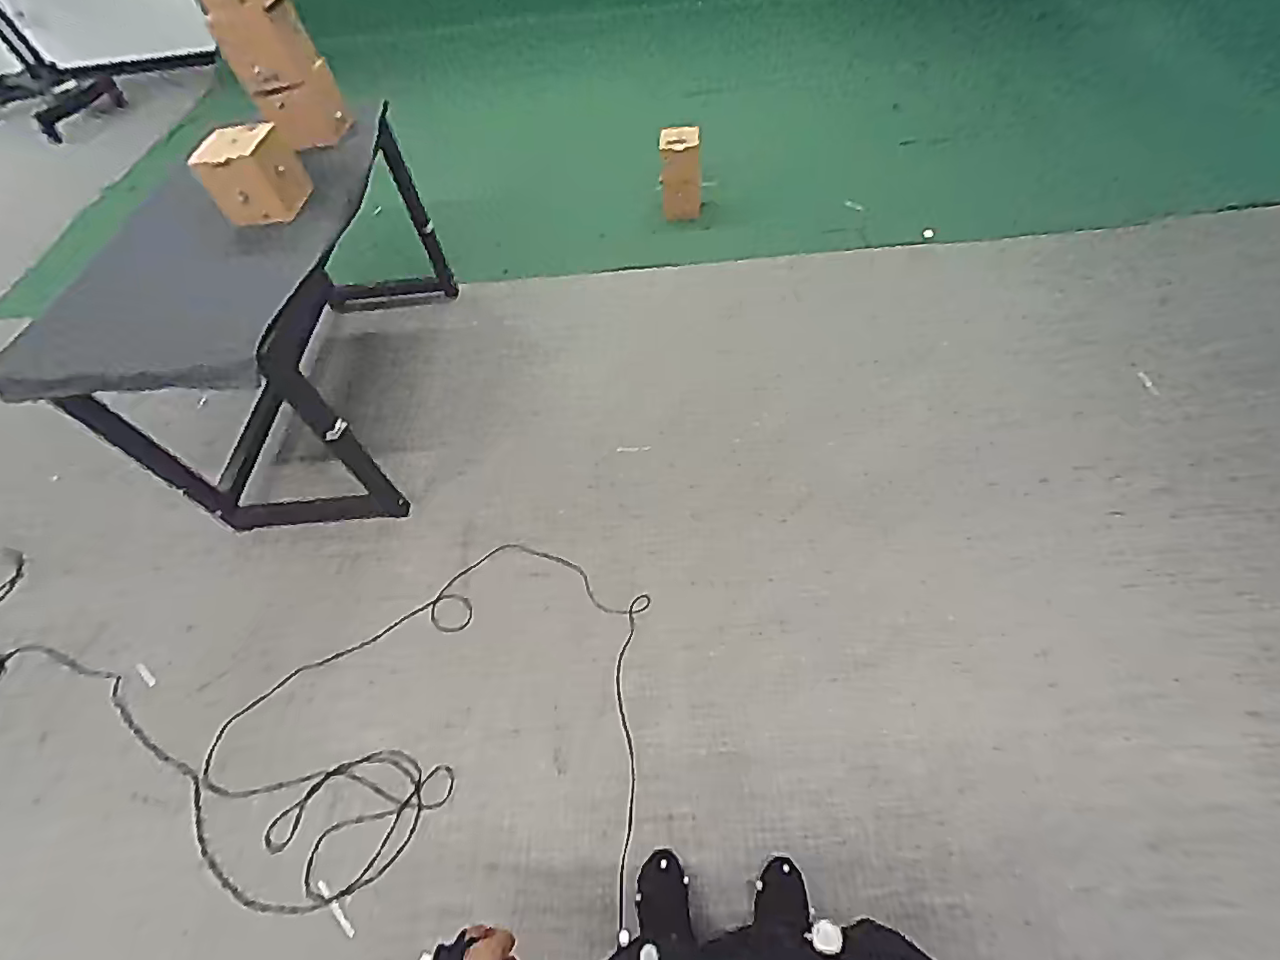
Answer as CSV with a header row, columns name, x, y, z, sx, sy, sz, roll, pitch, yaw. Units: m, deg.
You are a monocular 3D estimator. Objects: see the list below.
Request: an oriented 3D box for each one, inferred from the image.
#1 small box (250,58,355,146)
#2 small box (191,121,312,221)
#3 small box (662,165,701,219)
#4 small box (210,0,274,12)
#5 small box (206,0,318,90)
name,x,y,z,sx,sy,sz,roll,pitch,yaw
small box,-1.007,-1.133,1.628,0.179,0.176,0.168,0,57,7
small box,-0.995,-0.795,1.406,0.168,0.176,0.179,-3,57,5
small box,0.196,-1.362,2.559,0.179,0.176,0.168,-1,57,5
small box,-1.023,-1.315,1.356,0.168,0.176,0.179,-4,57,7
small box,-1.025,-1.212,1.487,0.168,0.176,0.179,-8,58,4
